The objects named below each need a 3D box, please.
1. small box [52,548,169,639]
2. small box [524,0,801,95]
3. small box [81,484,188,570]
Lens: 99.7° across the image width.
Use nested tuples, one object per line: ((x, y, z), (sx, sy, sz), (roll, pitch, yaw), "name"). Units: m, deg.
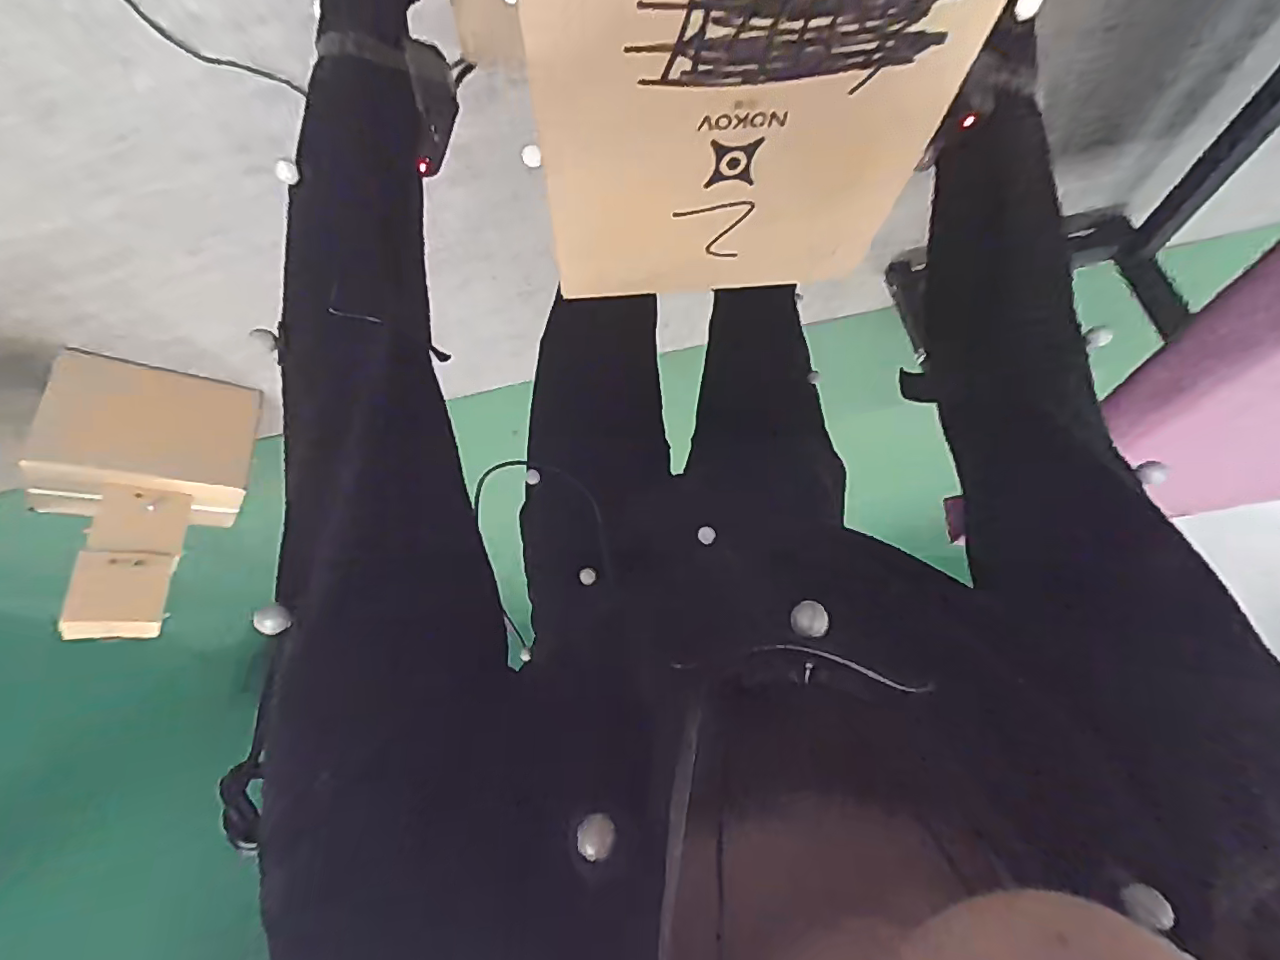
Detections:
((-1.231, 0.271, 1.267), (0.168, 0.176, 0.179), (13, 148, -39), "small box")
((0.010, -0.367, 0.310), (0.168, 0.176, 0.179), (-3, 158, -8), "small box")
((-1.252, 0.127, 1.340), (0.168, 0.176, 0.179), (15, 146, -41), "small box")
